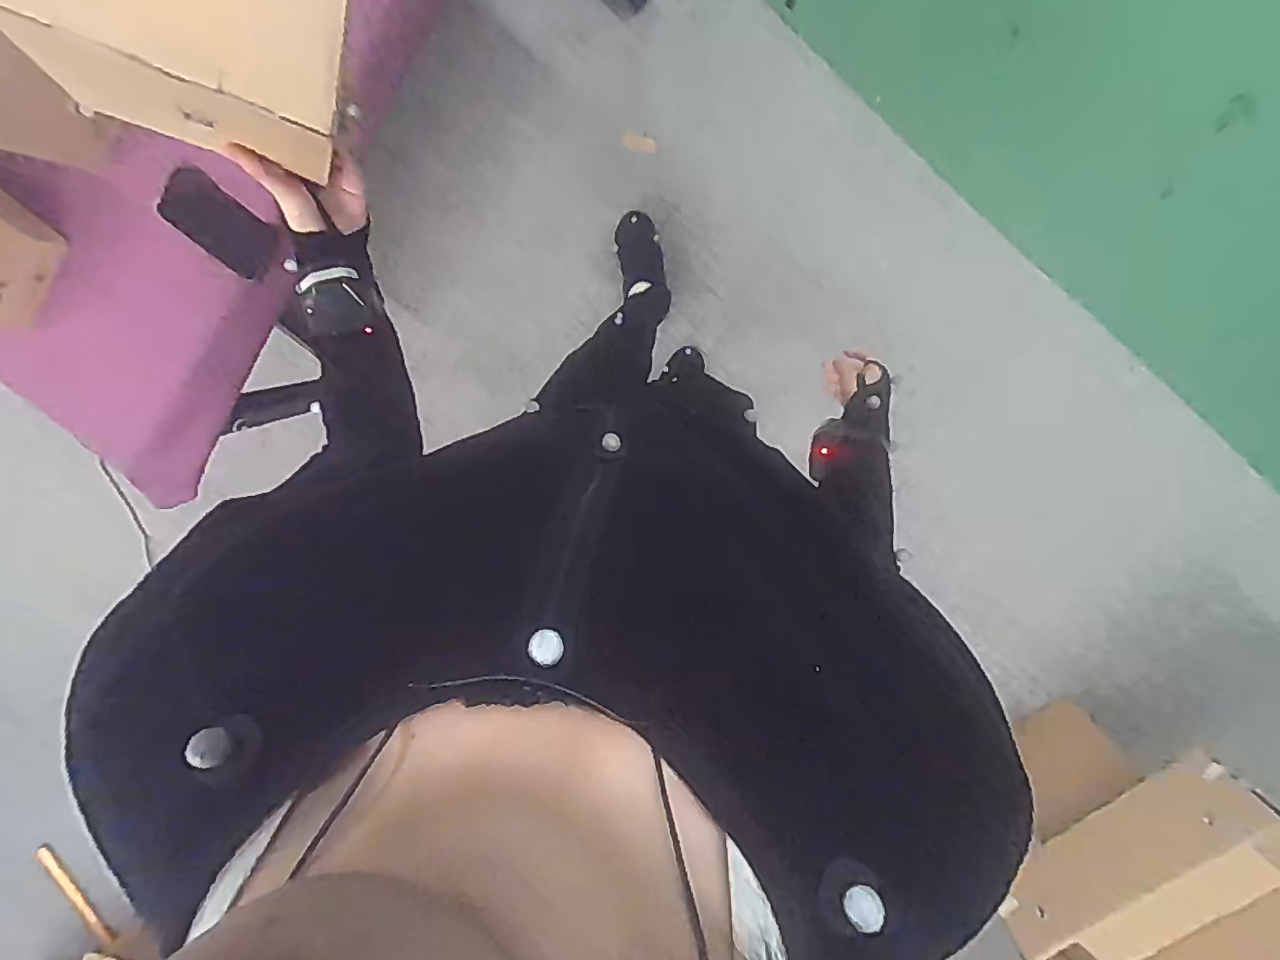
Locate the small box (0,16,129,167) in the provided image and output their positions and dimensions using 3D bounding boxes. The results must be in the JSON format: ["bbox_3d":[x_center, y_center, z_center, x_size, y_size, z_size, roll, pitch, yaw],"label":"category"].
[{"bbox_3d":[-0.730,-0.488,0.603,0.179,0.176,0.168,36,107,-7],"label":"small box"}]

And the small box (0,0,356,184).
[{"bbox_3d":[-0.294,-0.341,0.371,0.168,0.179,0.176,8,99,-32],"label":"small box"}]

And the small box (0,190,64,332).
[{"bbox_3d":[-0.904,-0.297,0.677,0.179,0.176,0.168,41,106,-8],"label":"small box"}]
